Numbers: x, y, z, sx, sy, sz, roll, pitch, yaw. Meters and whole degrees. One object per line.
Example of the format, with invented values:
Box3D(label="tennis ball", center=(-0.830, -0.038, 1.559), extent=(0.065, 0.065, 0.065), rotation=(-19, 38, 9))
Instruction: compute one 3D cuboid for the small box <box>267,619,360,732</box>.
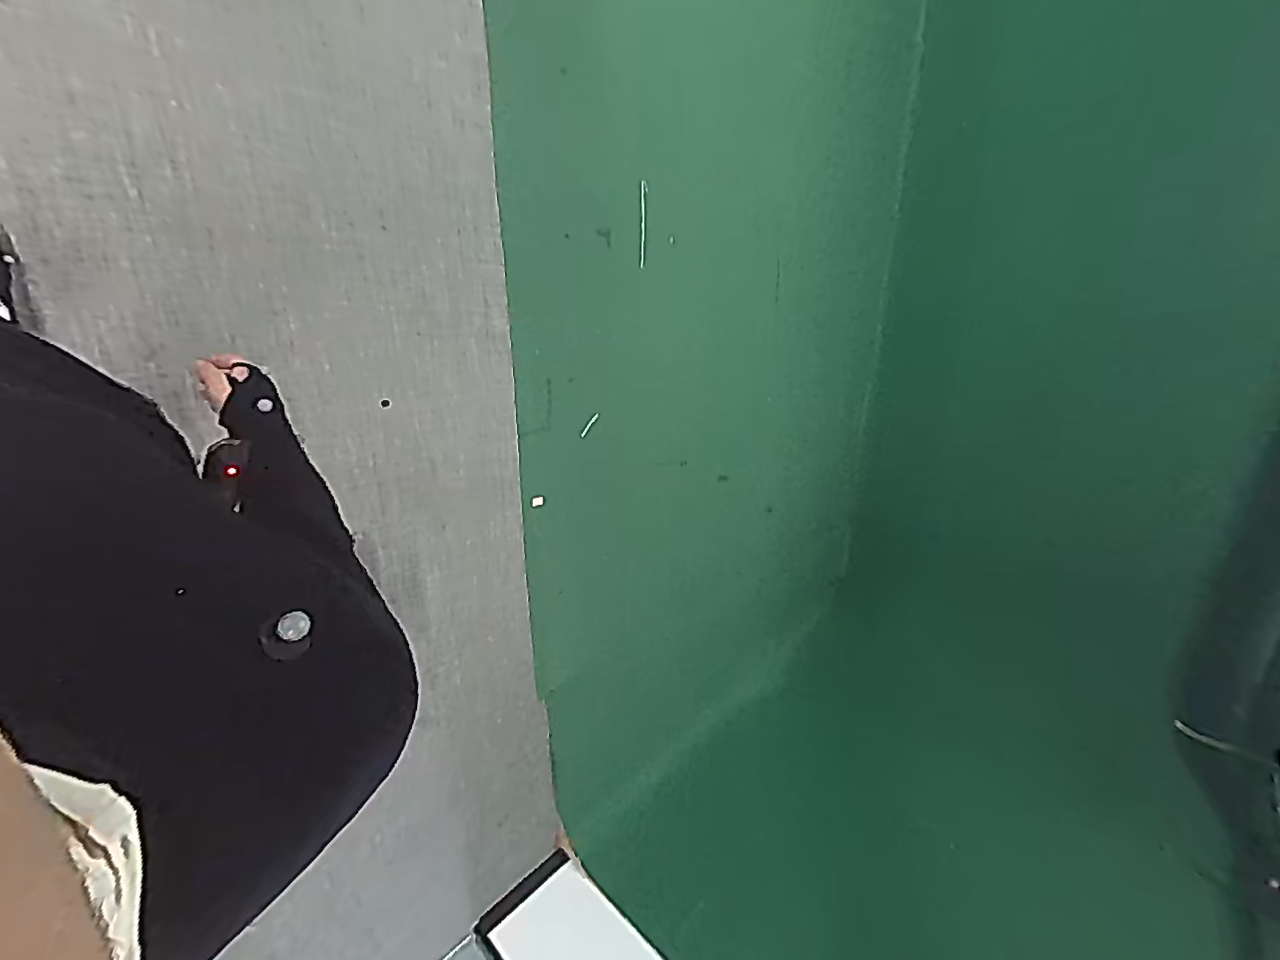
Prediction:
Box3D(label="small box", center=(-0.804, 0.477, 1.340), extent=(0.168, 0.176, 0.179), rotation=(-12, 113, -43))
